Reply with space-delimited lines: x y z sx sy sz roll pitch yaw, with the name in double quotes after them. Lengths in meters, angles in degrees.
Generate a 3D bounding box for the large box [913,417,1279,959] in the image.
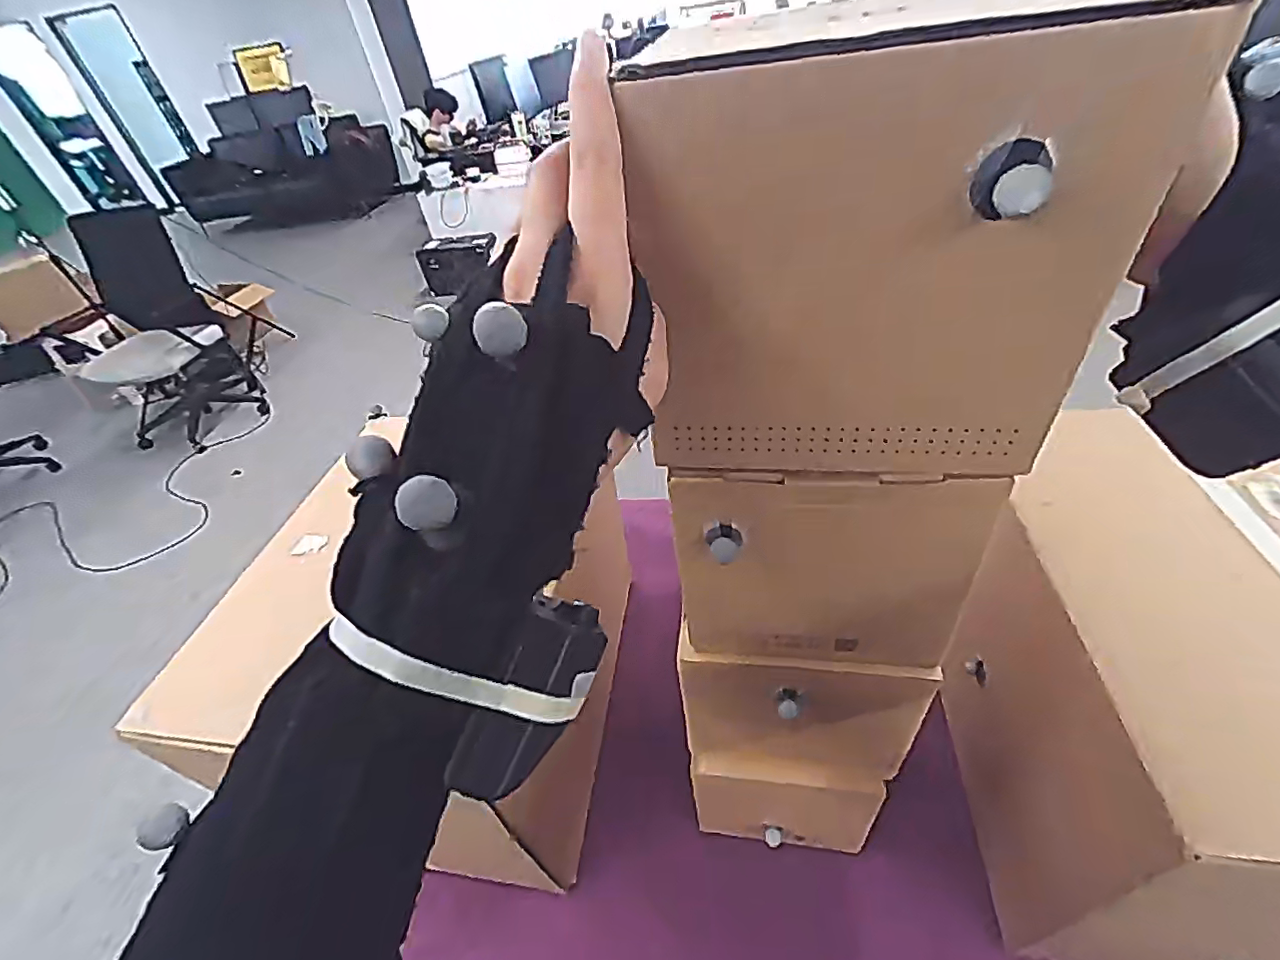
0.484 0.186 0.498 0.320 0.320 0.408 0 41 11 "large box"
